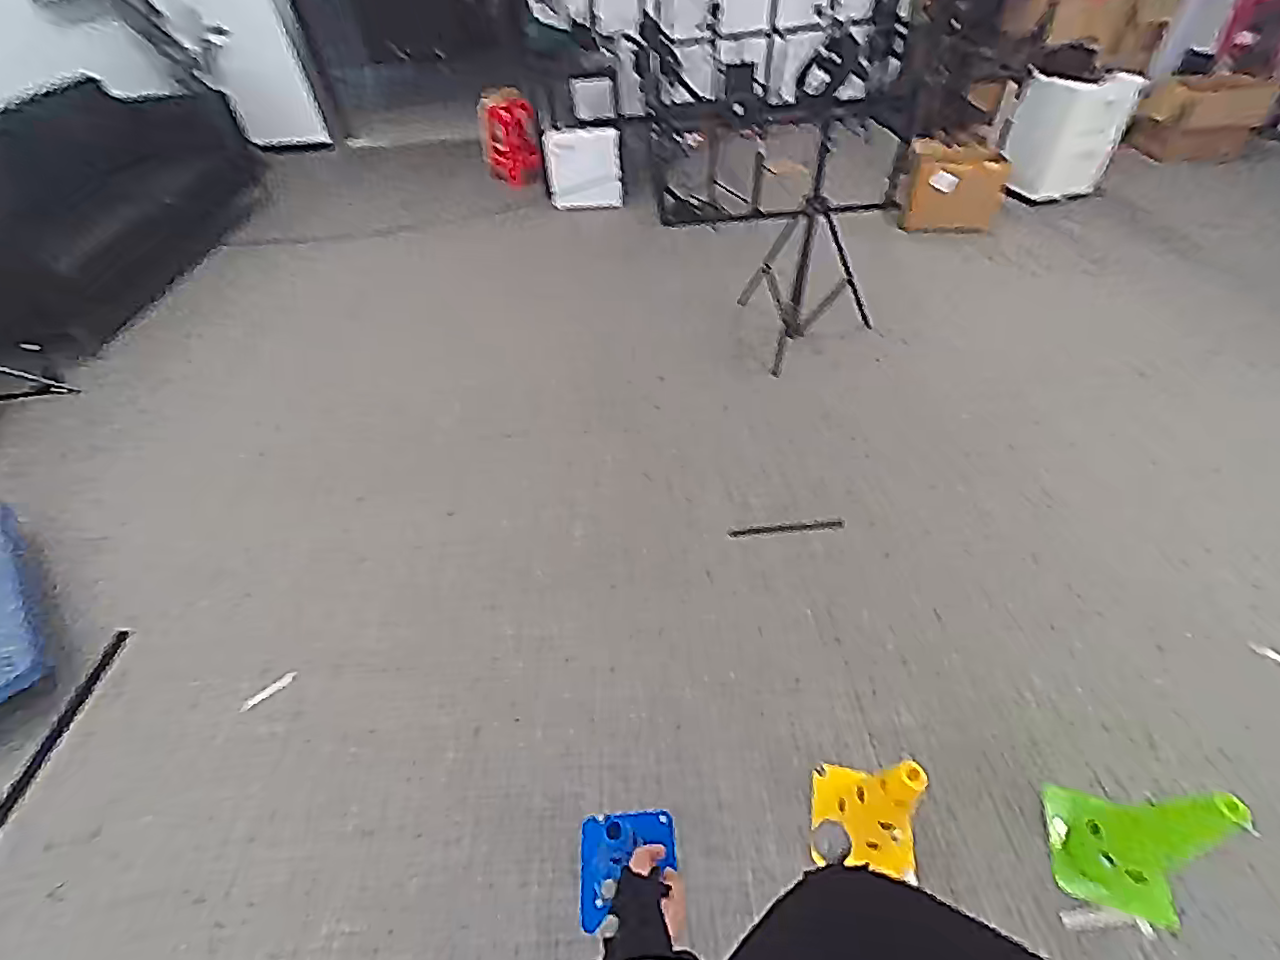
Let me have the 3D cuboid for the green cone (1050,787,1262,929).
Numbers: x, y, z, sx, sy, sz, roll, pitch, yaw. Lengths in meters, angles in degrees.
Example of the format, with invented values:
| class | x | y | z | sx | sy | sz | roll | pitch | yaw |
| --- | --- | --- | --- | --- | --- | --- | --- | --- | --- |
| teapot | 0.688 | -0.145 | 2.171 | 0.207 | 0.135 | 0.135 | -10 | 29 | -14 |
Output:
| class | x | y | z | sx | sy | sz | roll | pitch | yaw |
| --- | --- | --- | --- | --- | --- | --- | --- | --- | --- |
| green cone | 0.936 | 0.632 | 0.960 | 0.200 | 0.368 | 0.202 | 11 | 49 | 16 |
